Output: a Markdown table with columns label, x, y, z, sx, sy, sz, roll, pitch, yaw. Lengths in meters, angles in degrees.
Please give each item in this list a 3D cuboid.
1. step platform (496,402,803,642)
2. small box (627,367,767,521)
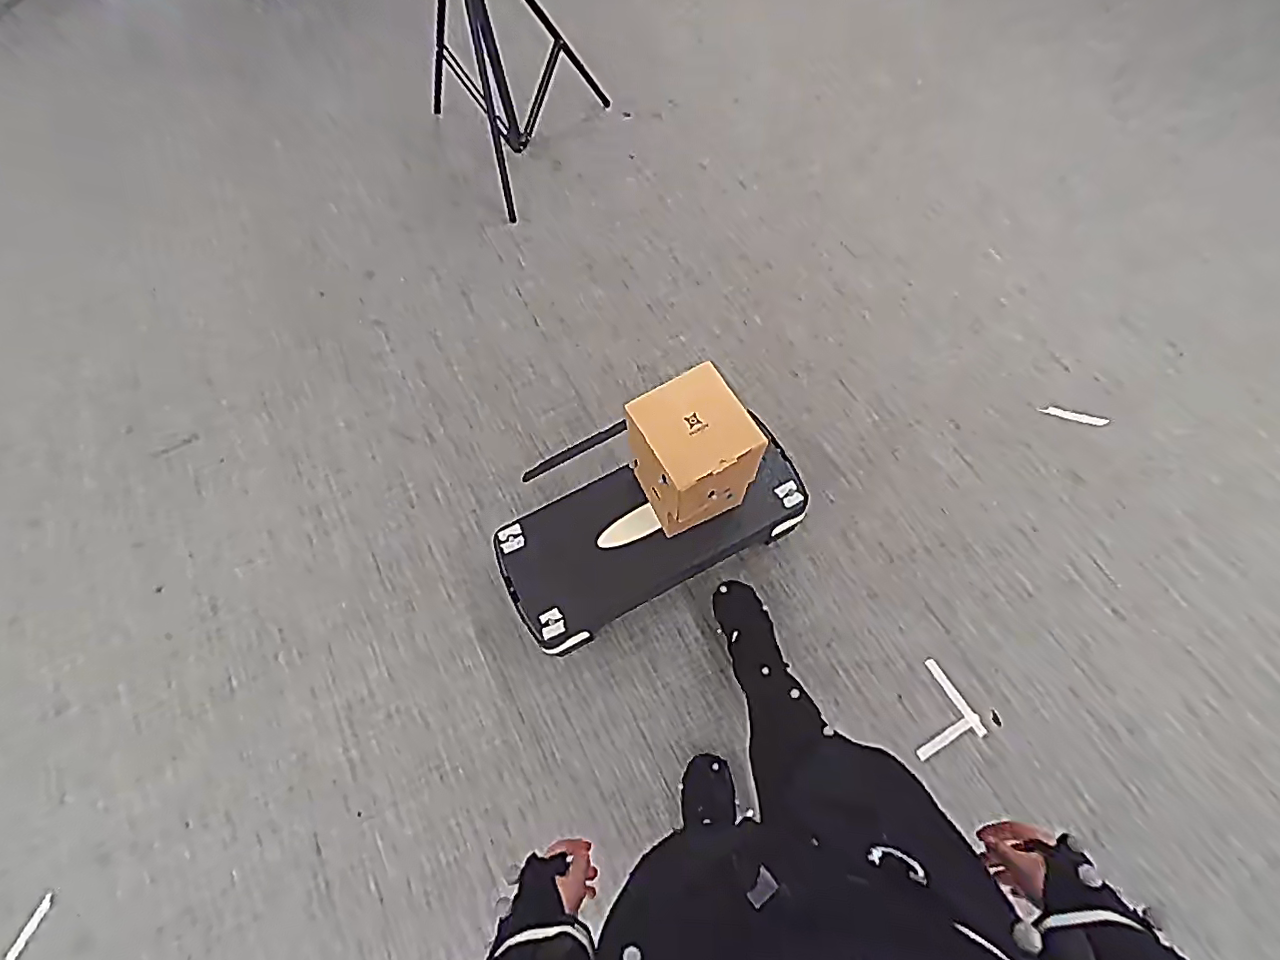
| label | x | y | z | sx | sy | sz | roll | pitch | yaw |
| --- | --- | --- | --- | --- | --- | --- | --- | --- | --- |
| step platform | 0.026 | 0.093 | 1.245 | 0.684 | 0.204 | 0.286 | -28 | 70 | -7 |
| small box | 0.090 | -0.055 | 0.938 | 0.168 | 0.176 | 0.179 | -29 | 71 | -9 |
